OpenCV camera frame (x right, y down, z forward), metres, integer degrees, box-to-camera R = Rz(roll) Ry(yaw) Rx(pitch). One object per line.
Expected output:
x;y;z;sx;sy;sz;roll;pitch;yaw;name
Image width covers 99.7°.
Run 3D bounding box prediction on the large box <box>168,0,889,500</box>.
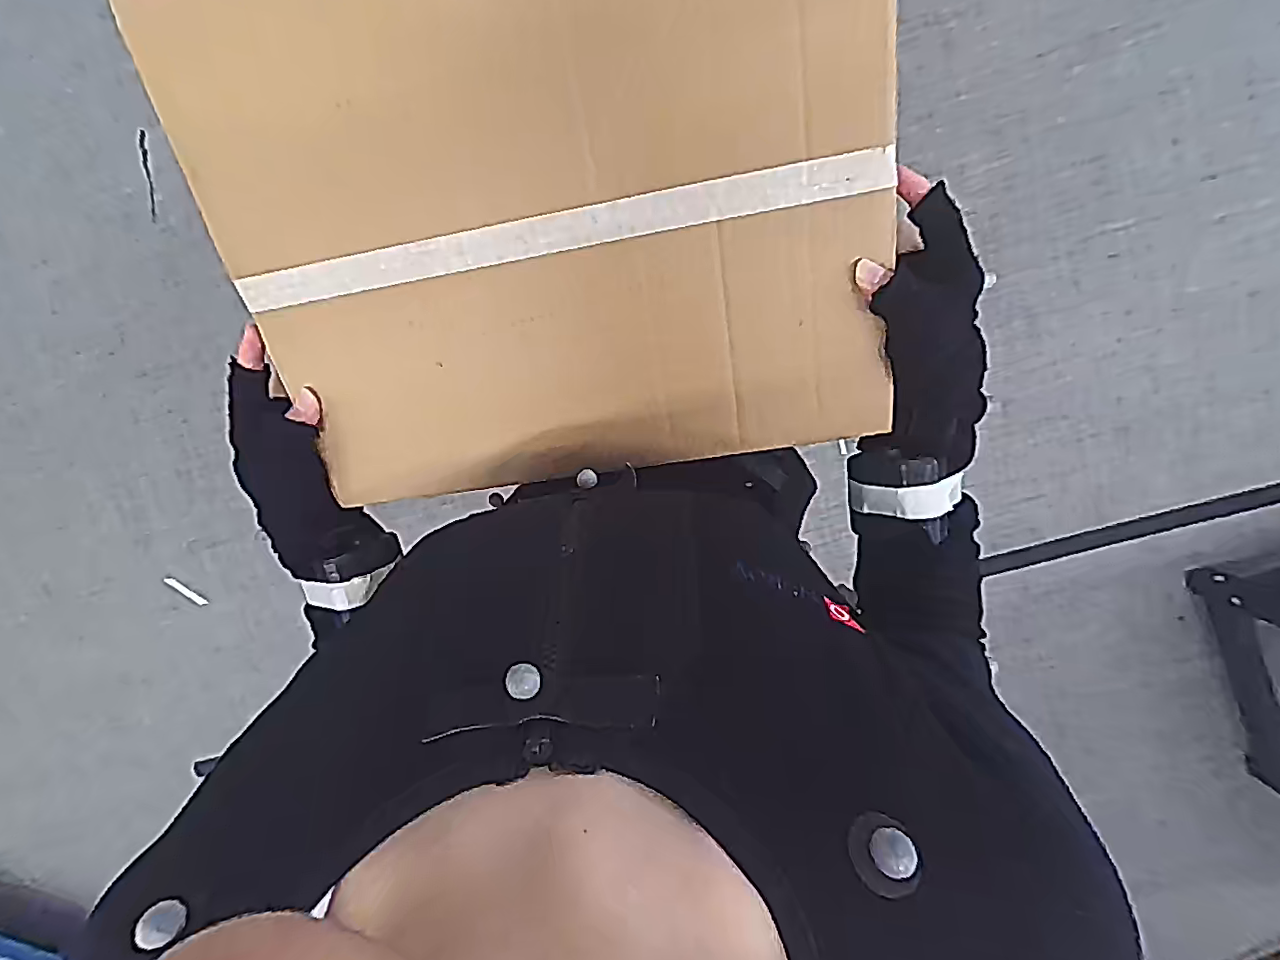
-0.043;-0.208;0.474;0.408;0.320;0.320;-8;114;7;large box
